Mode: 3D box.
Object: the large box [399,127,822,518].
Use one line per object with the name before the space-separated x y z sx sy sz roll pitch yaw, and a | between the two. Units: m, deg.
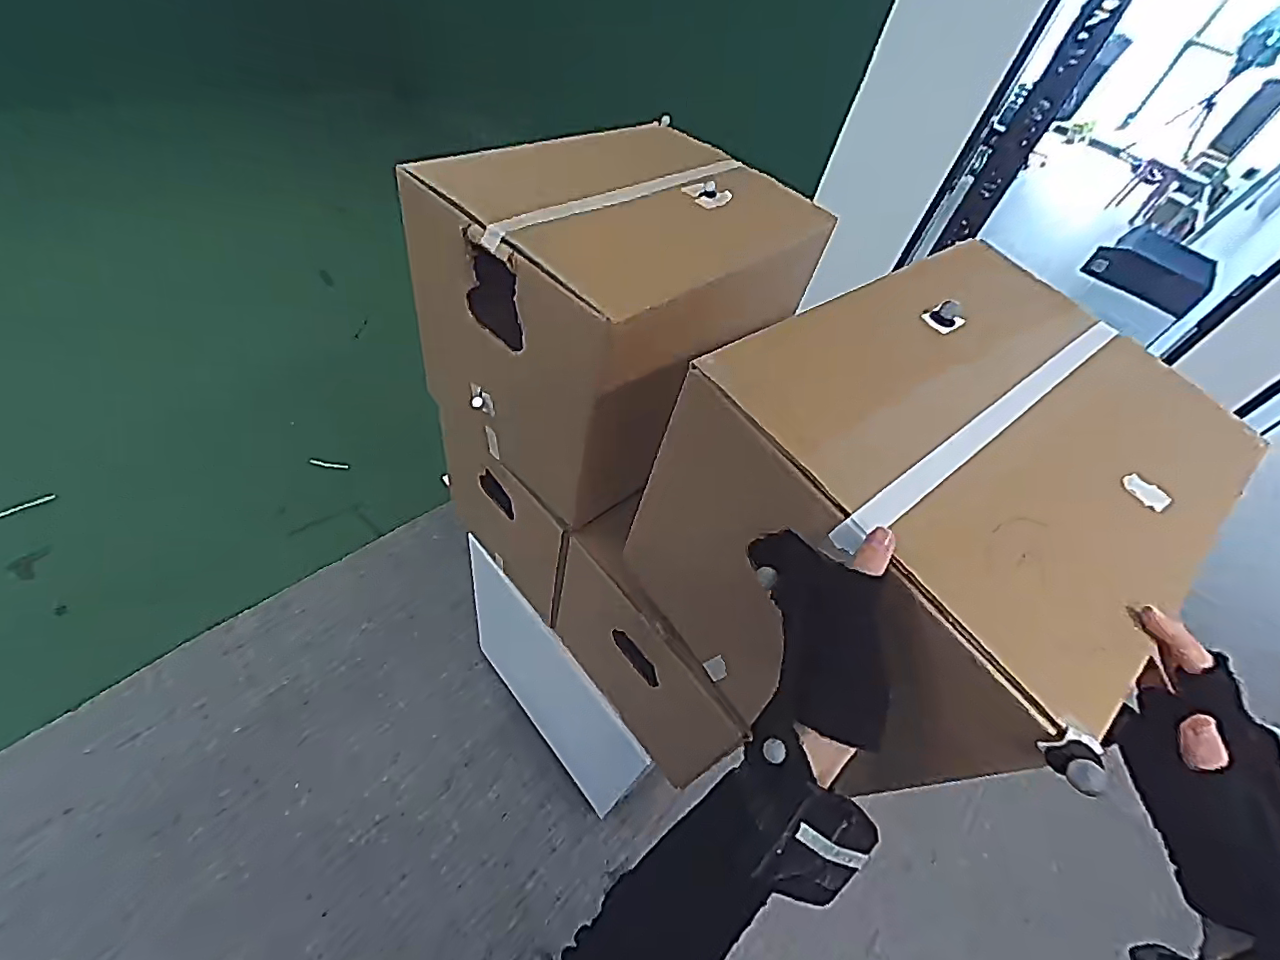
large box | -0.037 -0.225 0.722 0.320 0.320 0.408 40 53 19
